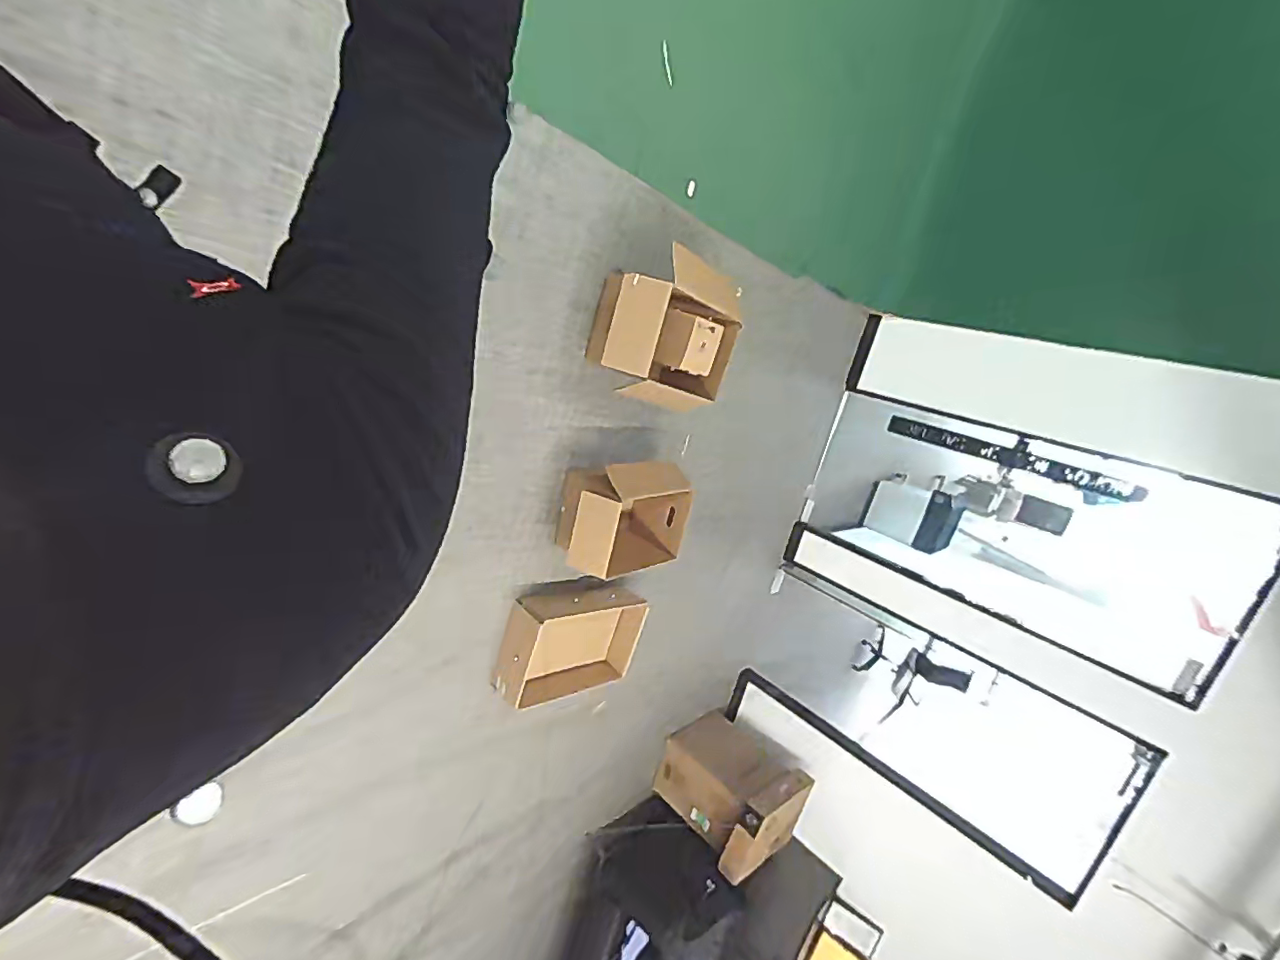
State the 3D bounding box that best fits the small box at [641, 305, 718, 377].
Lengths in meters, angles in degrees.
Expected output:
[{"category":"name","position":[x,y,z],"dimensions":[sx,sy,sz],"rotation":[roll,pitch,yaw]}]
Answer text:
[{"category":"small box","position":[0.128,-0.468,1.822],"dimensions":[0.168,0.176,0.179],"rotation":[1,114,-51]}]
